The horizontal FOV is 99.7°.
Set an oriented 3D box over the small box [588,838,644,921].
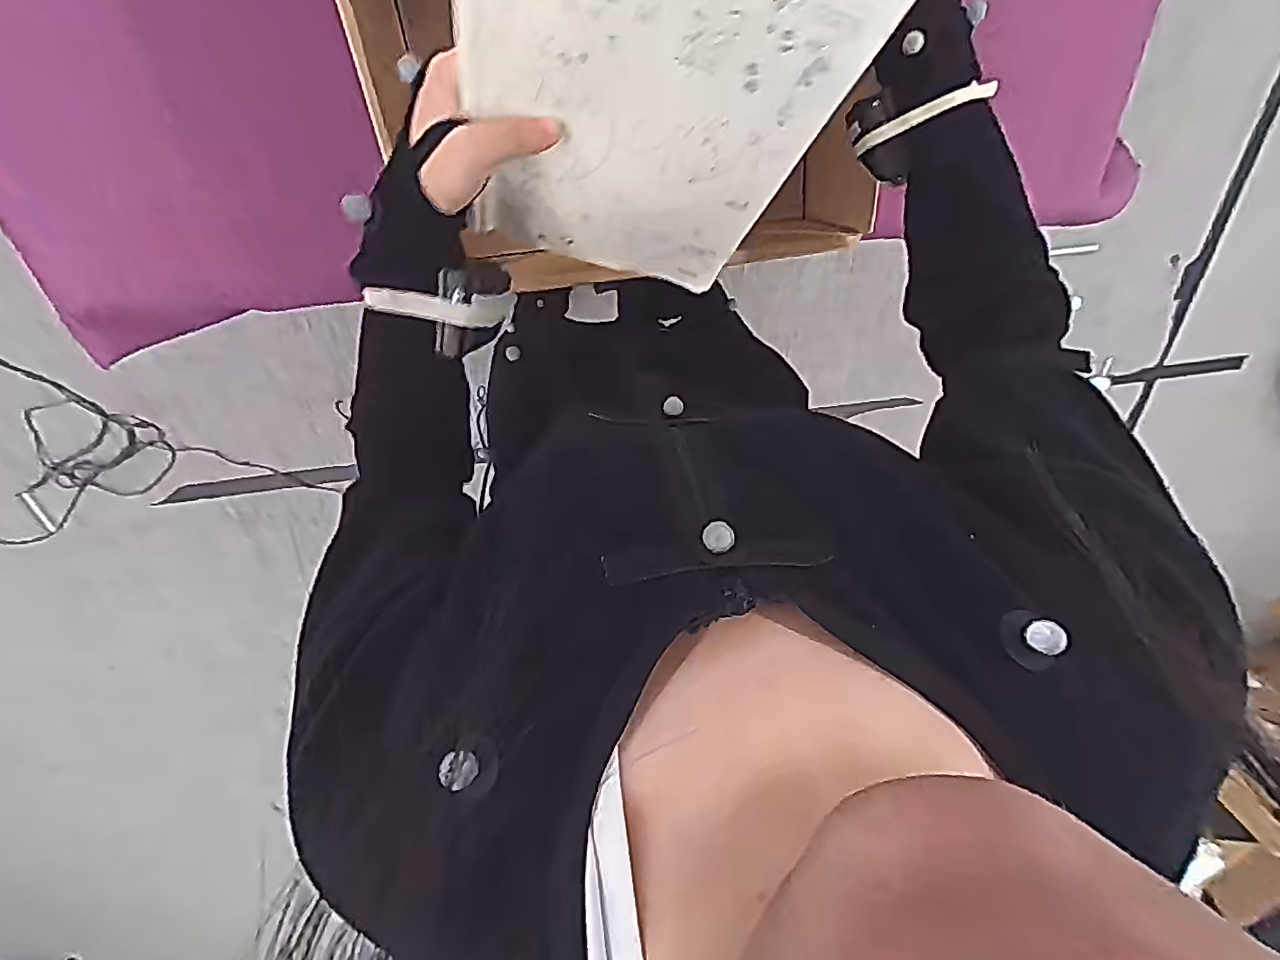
[{"bbox_3d":[-0.085,1.370,1.860,0.179,0.176,0.168,-6,124,-8],"label":"small box"}]
